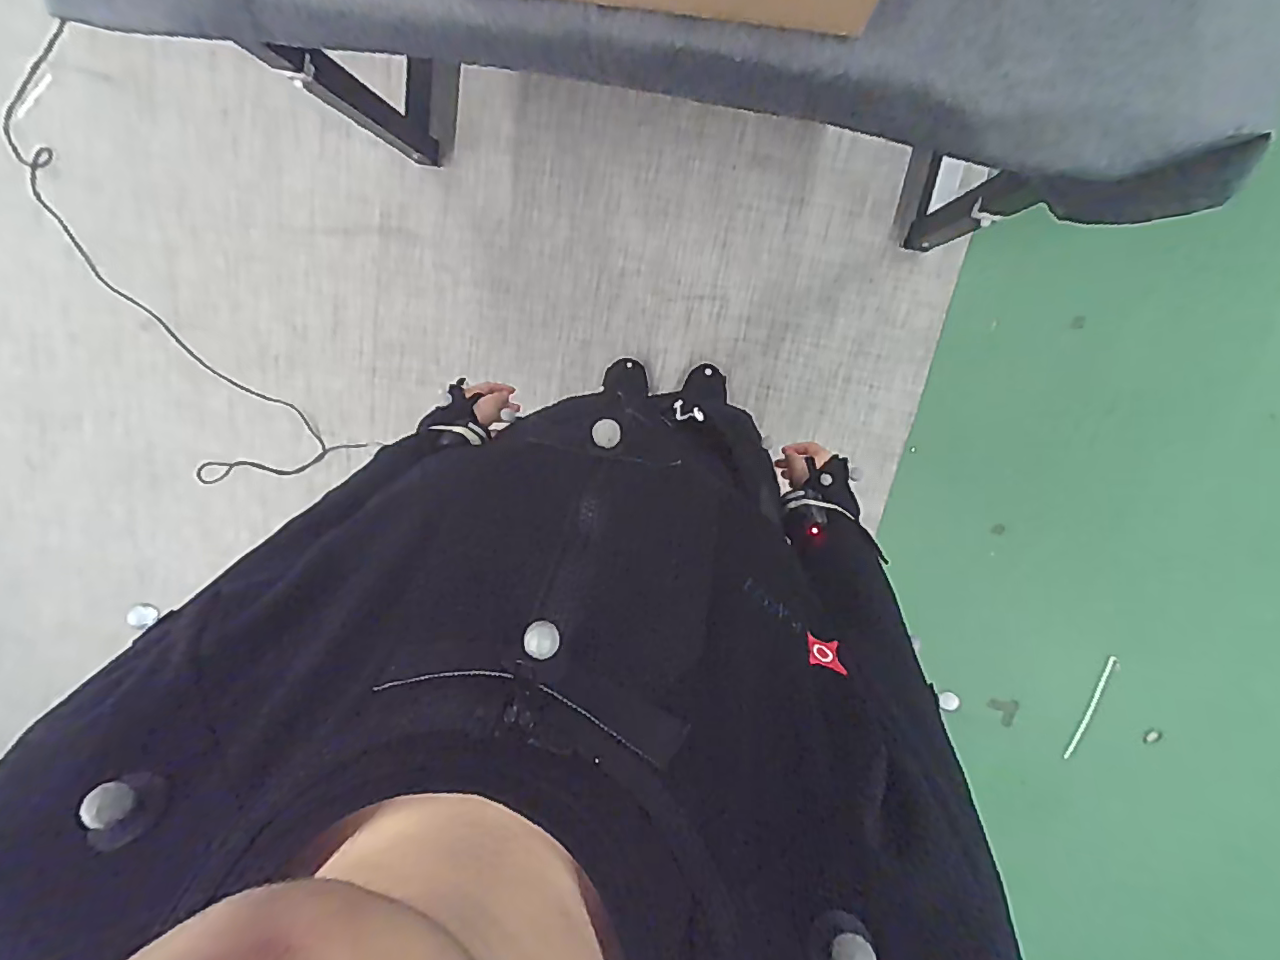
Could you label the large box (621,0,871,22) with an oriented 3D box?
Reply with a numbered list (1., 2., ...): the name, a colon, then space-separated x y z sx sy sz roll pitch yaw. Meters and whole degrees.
1. large box: 0.021 -0.569 0.340 0.408 0.320 0.320 9 103 2
